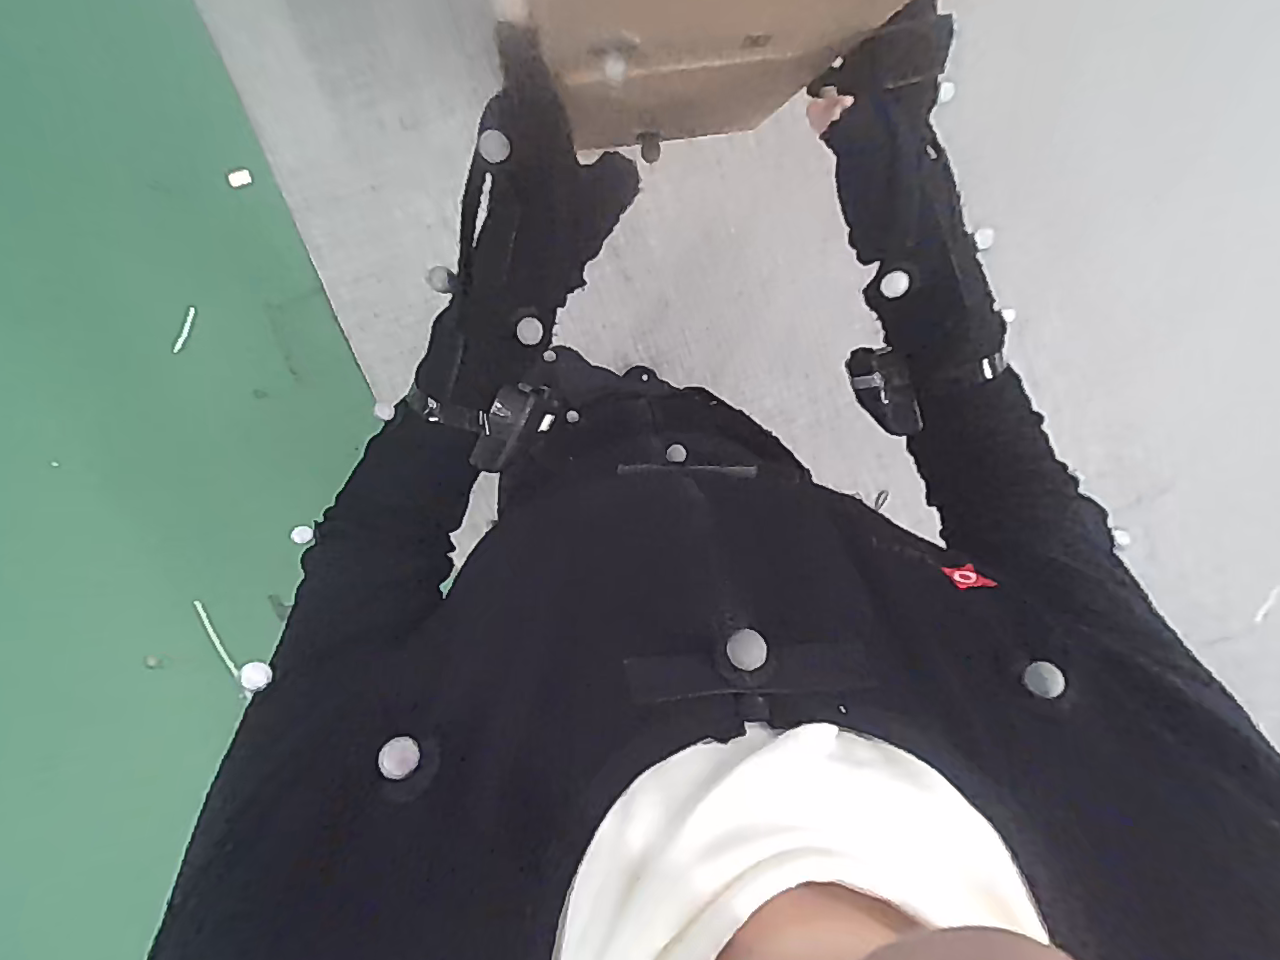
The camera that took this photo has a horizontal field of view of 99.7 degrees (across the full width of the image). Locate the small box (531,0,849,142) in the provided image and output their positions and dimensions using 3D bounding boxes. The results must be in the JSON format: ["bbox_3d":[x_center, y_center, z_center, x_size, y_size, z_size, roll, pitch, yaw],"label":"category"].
[{"bbox_3d":[0.011,-0.334,0.329,0.168,0.176,0.179,-9,111,-3],"label":"small box"}]

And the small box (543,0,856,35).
[{"bbox_3d":[0.030,-0.281,0.175,0.168,0.176,0.179,-8,110,-3],"label":"small box"}]
